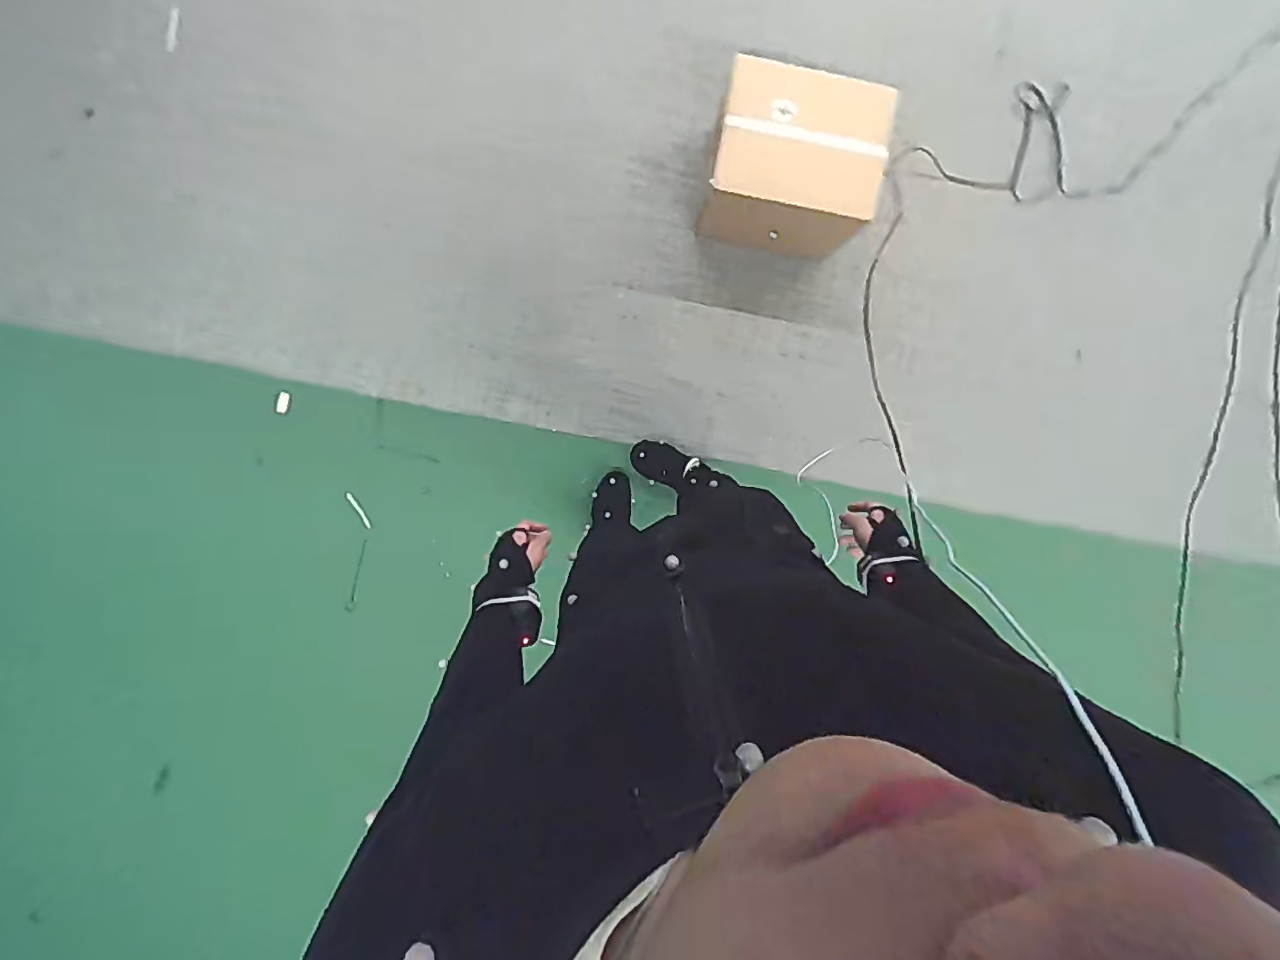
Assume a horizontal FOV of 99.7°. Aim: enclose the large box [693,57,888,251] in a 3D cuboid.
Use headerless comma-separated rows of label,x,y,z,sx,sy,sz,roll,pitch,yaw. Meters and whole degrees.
large box,0.377,-0.841,1.446,0.408,0.320,0.320,8,94,-2
